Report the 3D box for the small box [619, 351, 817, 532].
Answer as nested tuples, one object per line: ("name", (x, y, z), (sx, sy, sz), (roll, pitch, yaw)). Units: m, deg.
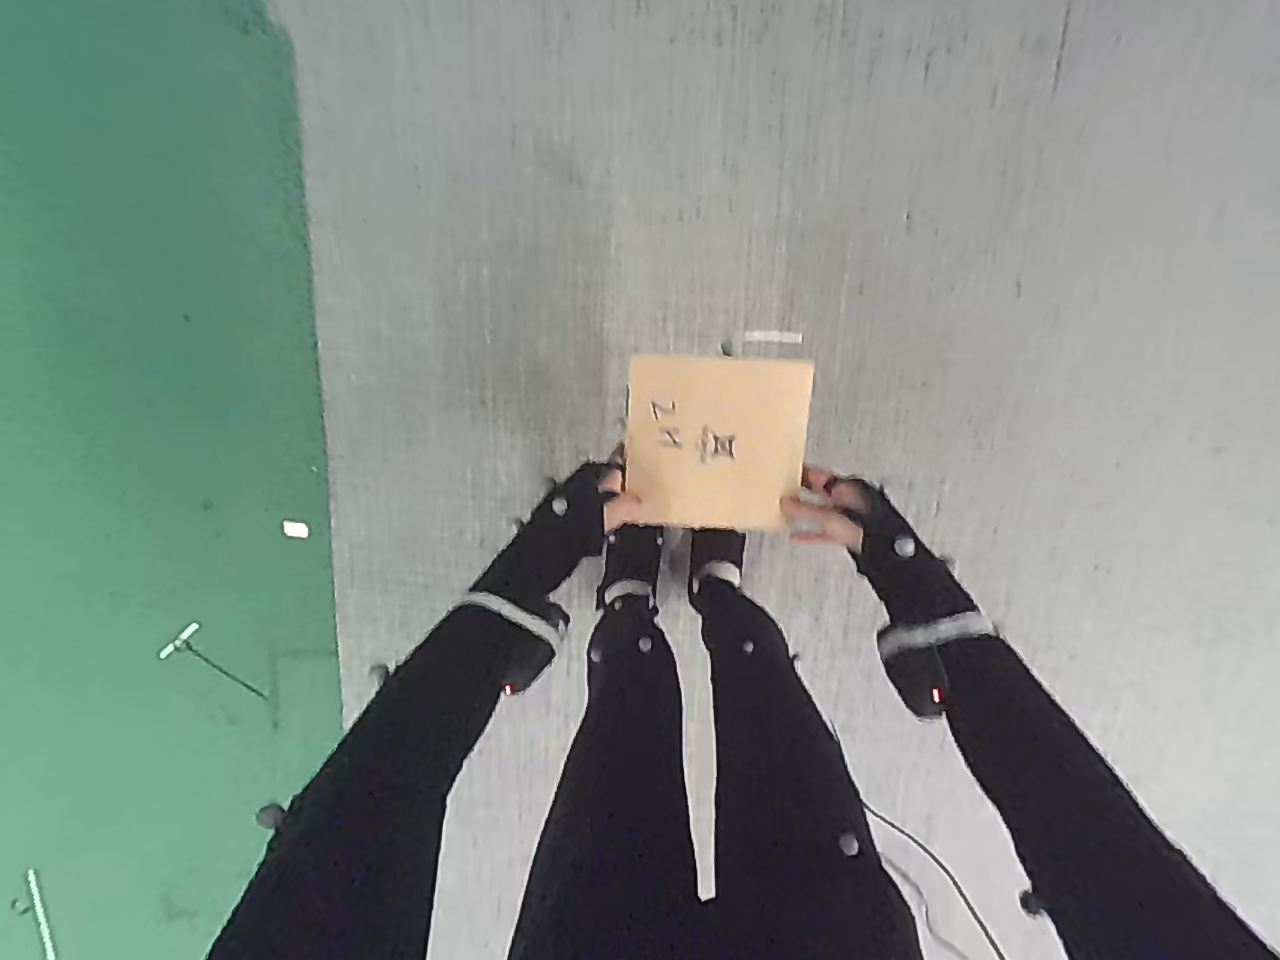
("small box", (0.072, -0.051, 0.590), (0.179, 0.176, 0.168), (4, 102, 0))
